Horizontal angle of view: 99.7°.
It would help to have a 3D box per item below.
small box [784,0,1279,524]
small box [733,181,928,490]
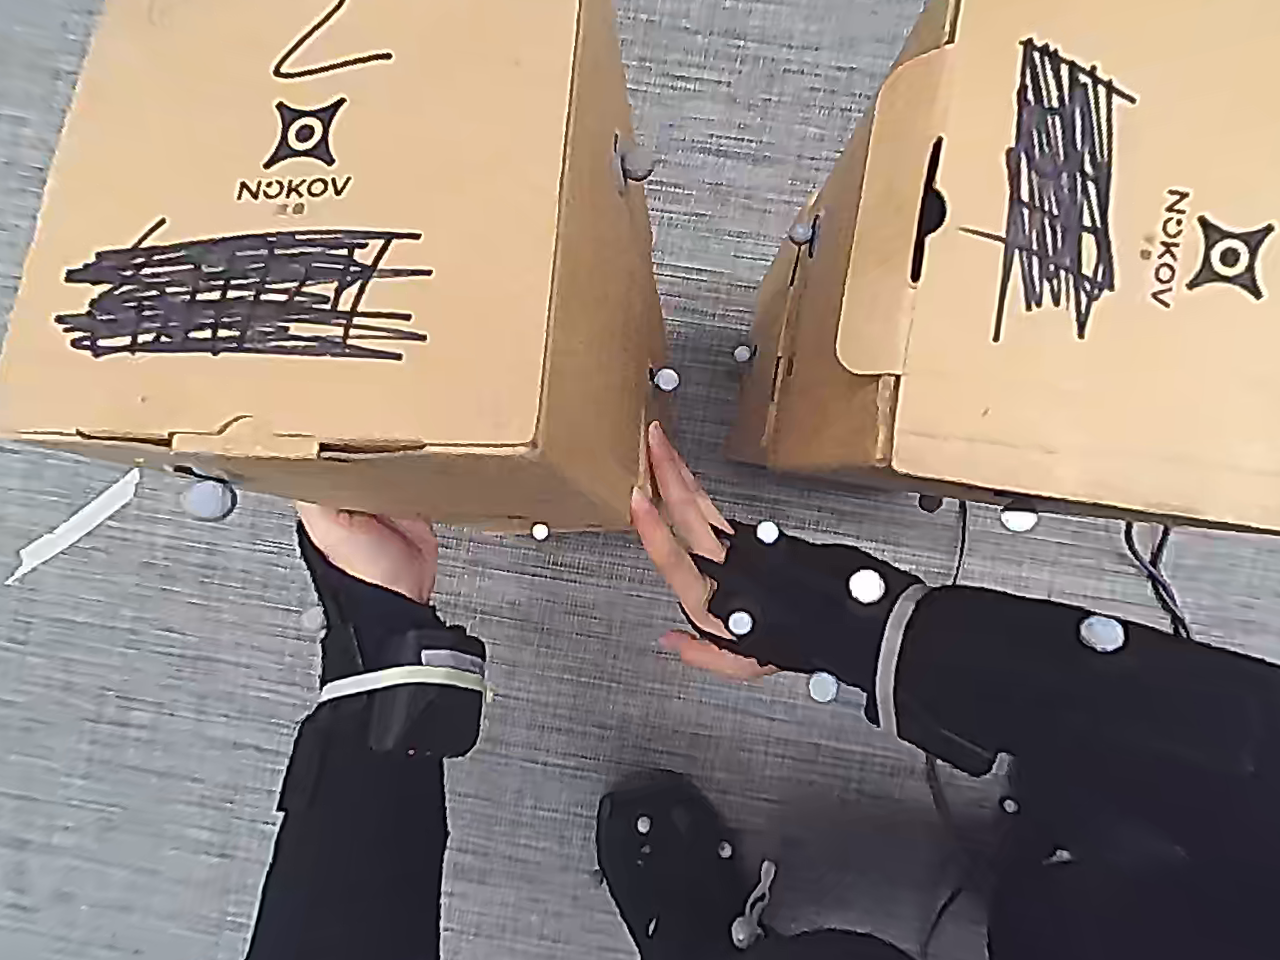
[{"bbox_3d":[0.175,-0.075,0.240,0.179,0.176,0.168,9,91,1],"label":"small box"},{"bbox_3d":[0.179,-0.085,0.404,0.179,0.176,0.168,11,91,2],"label":"small box"}]
